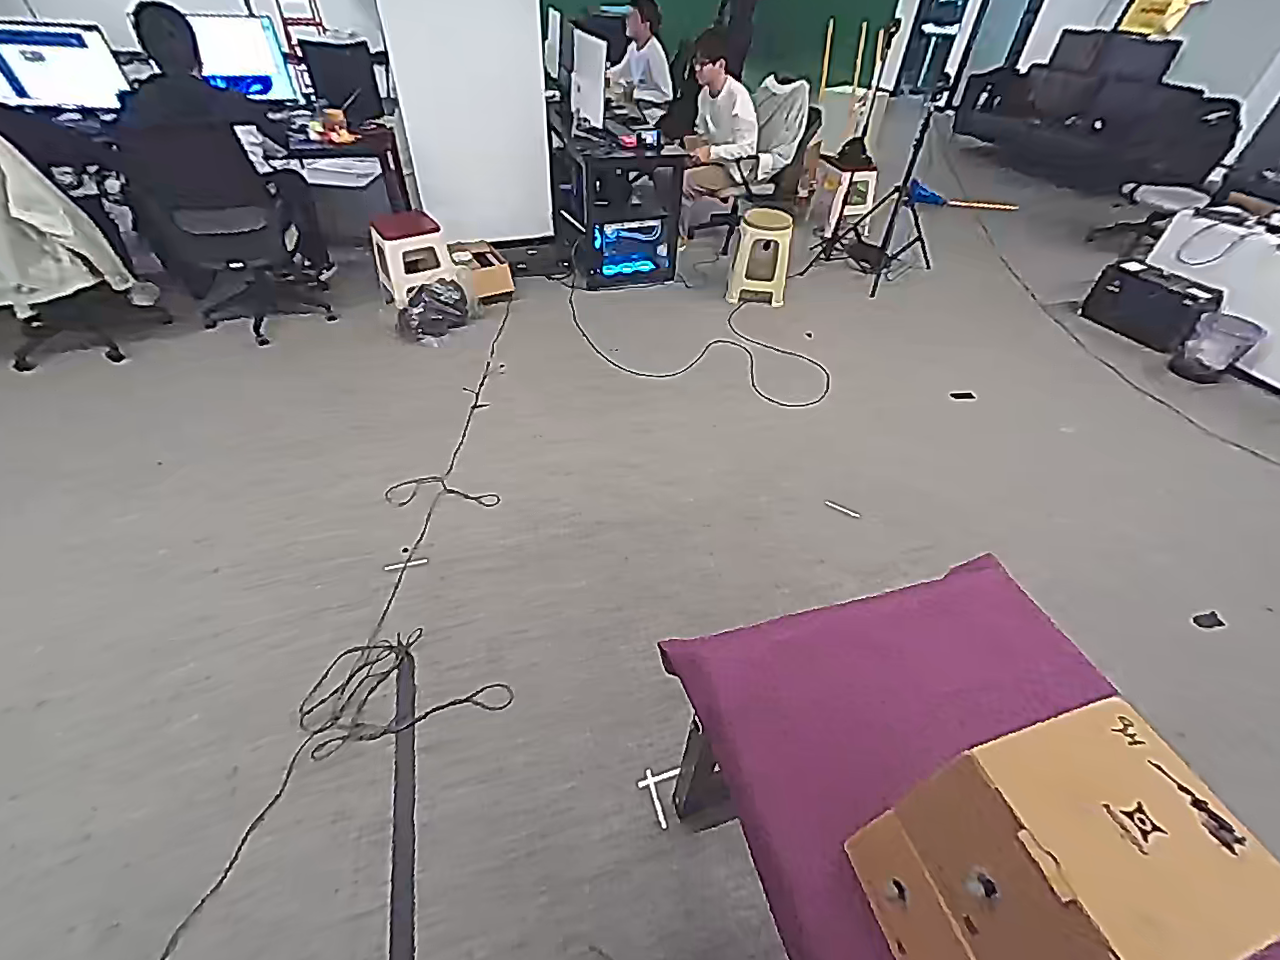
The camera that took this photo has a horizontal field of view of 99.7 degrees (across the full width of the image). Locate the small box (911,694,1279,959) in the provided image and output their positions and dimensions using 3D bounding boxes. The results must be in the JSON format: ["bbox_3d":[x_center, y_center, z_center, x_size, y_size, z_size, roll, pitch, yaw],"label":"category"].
[{"bbox_3d":[0.375,0.325,0.482,0.179,0.176,0.168,-10,46,-14],"label":"small box"}]

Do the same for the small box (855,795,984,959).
[{"bbox_3d":[0.363,0.444,0.593,0.179,0.176,0.168,-9,46,-14],"label":"small box"}]
